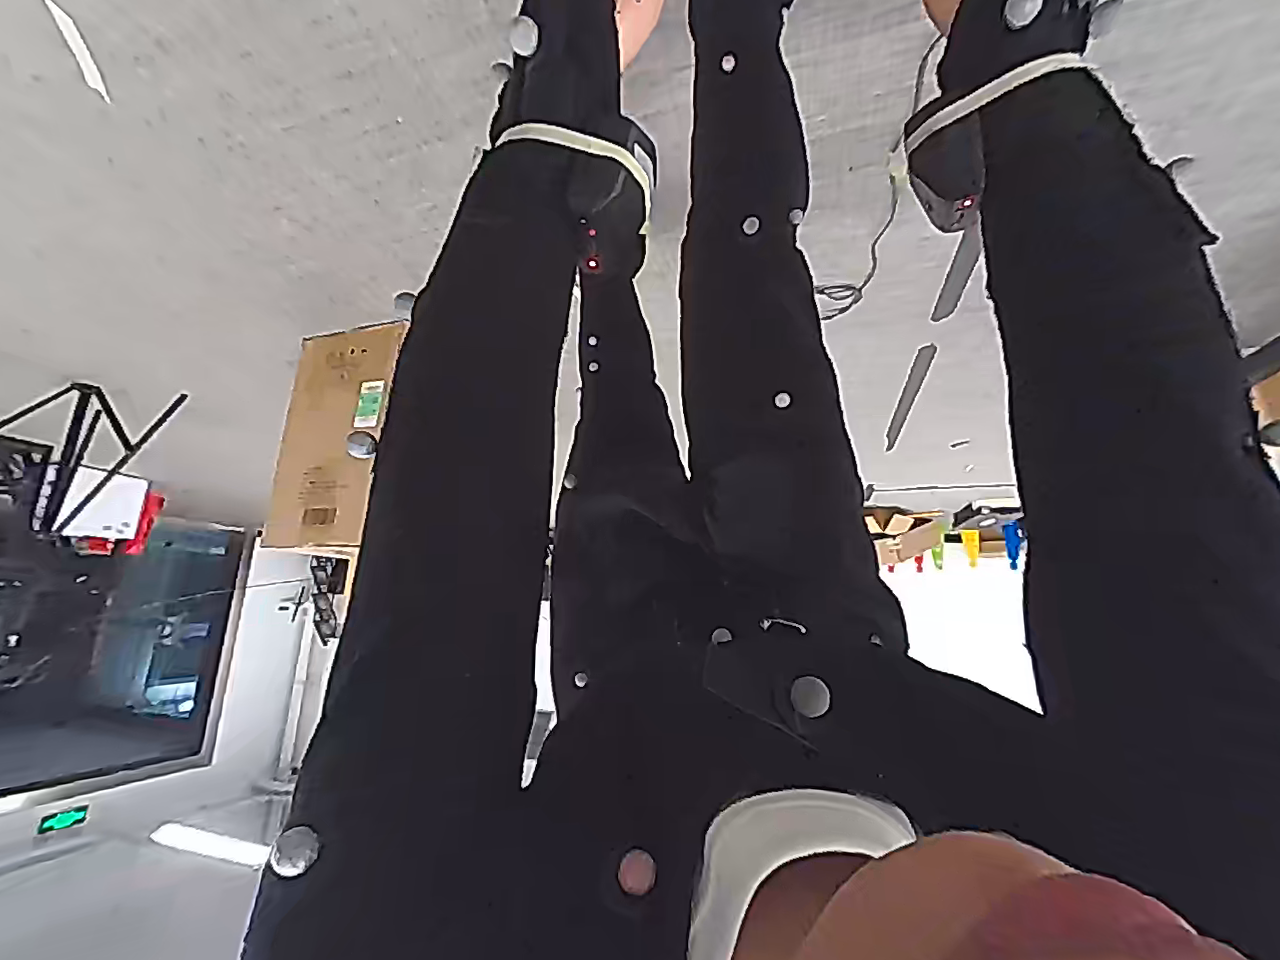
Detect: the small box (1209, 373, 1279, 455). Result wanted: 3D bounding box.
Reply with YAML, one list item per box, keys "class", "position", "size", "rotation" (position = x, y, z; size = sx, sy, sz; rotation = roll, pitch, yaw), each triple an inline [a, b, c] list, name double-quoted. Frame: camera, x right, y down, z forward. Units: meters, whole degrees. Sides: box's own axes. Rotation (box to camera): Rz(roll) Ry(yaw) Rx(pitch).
- class: "small box"
  position: [1.637, -0.173, 1.399]
  size: [0.168, 0.176, 0.179]
  rotation: [-2, 165, 20]

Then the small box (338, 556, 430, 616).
- class: "small box"
  position: [-0.746, 0.312, 1.588]
  size: [0.168, 0.176, 0.179]
  rotation: [-3, 166, 19]
